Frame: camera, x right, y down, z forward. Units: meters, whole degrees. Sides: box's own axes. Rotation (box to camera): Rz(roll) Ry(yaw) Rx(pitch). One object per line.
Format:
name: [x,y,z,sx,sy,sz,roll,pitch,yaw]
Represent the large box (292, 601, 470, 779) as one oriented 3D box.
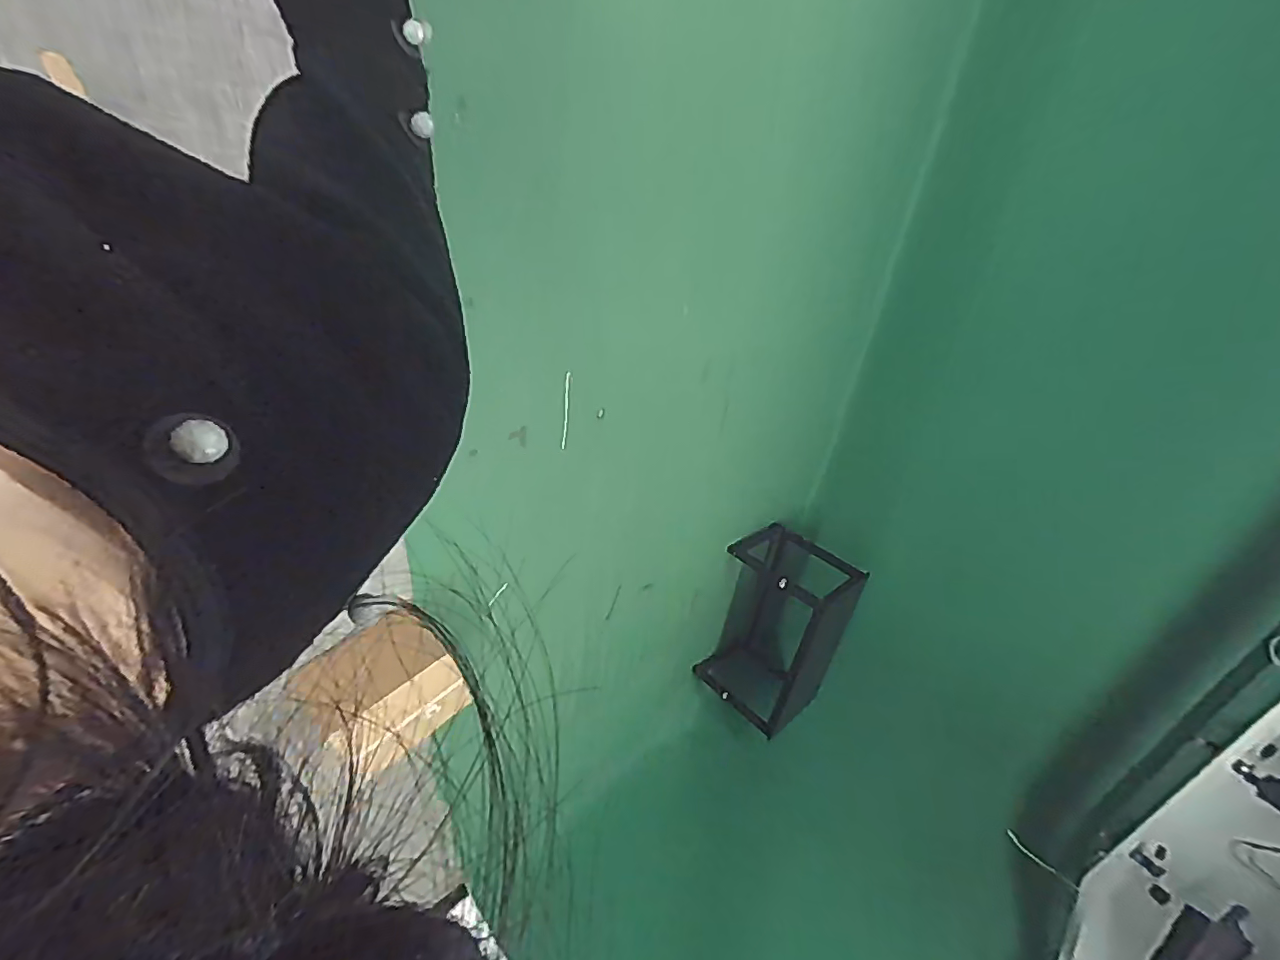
large box: [-0.868,0.701,1.844,0.408,0.320,0.320,-34,139,-30]
